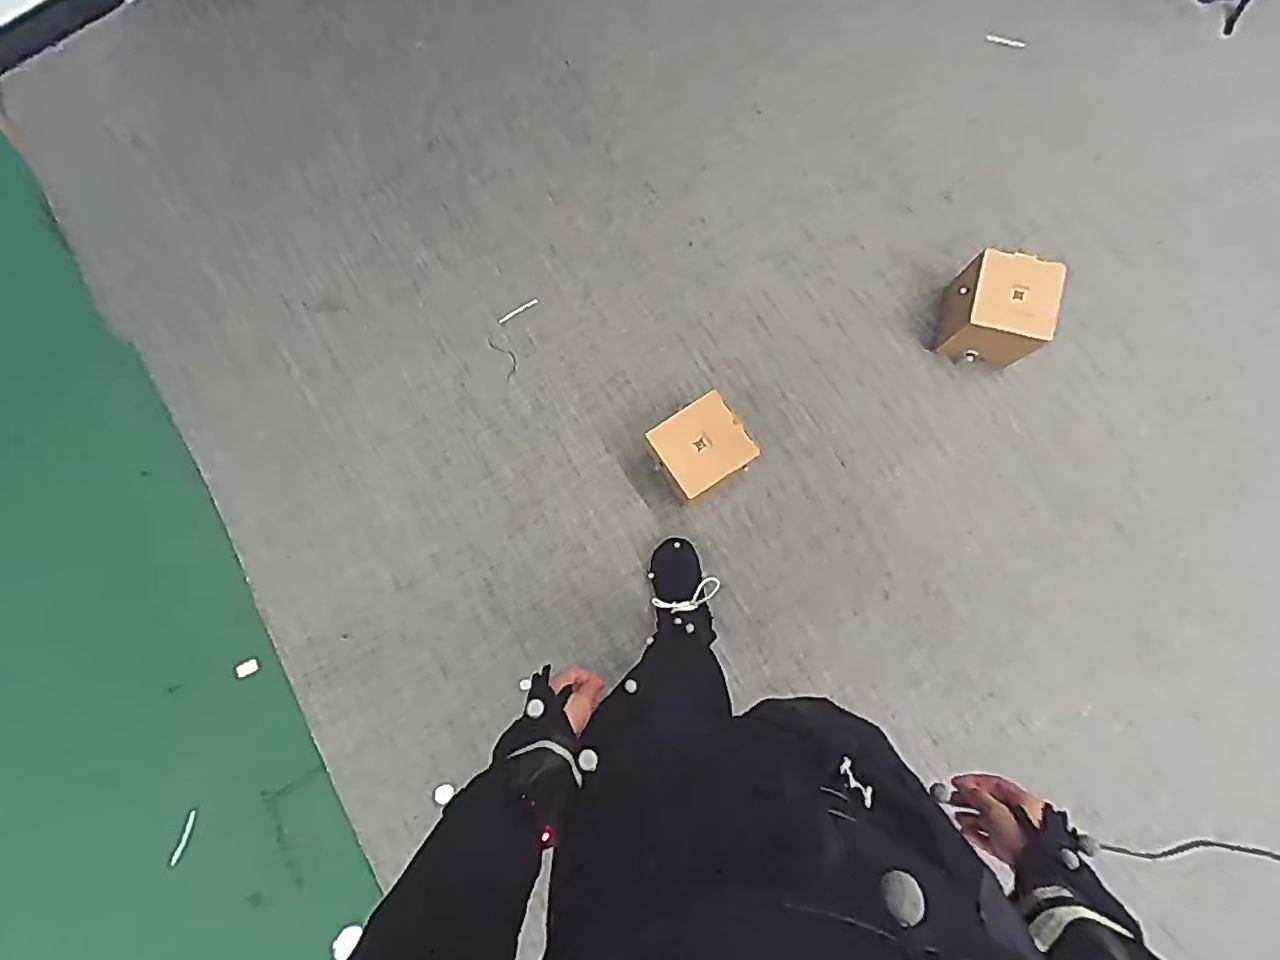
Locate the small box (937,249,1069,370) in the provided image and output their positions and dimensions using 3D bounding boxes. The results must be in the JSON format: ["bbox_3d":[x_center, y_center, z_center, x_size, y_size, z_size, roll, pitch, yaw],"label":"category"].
[{"bbox_3d":[0.779,-0.364,1.177,0.168,0.176,0.179,15,83,6],"label":"small box"}]

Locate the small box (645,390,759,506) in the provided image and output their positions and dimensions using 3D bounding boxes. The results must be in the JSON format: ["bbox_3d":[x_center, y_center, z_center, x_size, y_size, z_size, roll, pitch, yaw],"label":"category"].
[{"bbox_3d":[0.130,-0.059,1.163,0.179,0.176,0.168,-34,81,-3],"label":"small box"}]
